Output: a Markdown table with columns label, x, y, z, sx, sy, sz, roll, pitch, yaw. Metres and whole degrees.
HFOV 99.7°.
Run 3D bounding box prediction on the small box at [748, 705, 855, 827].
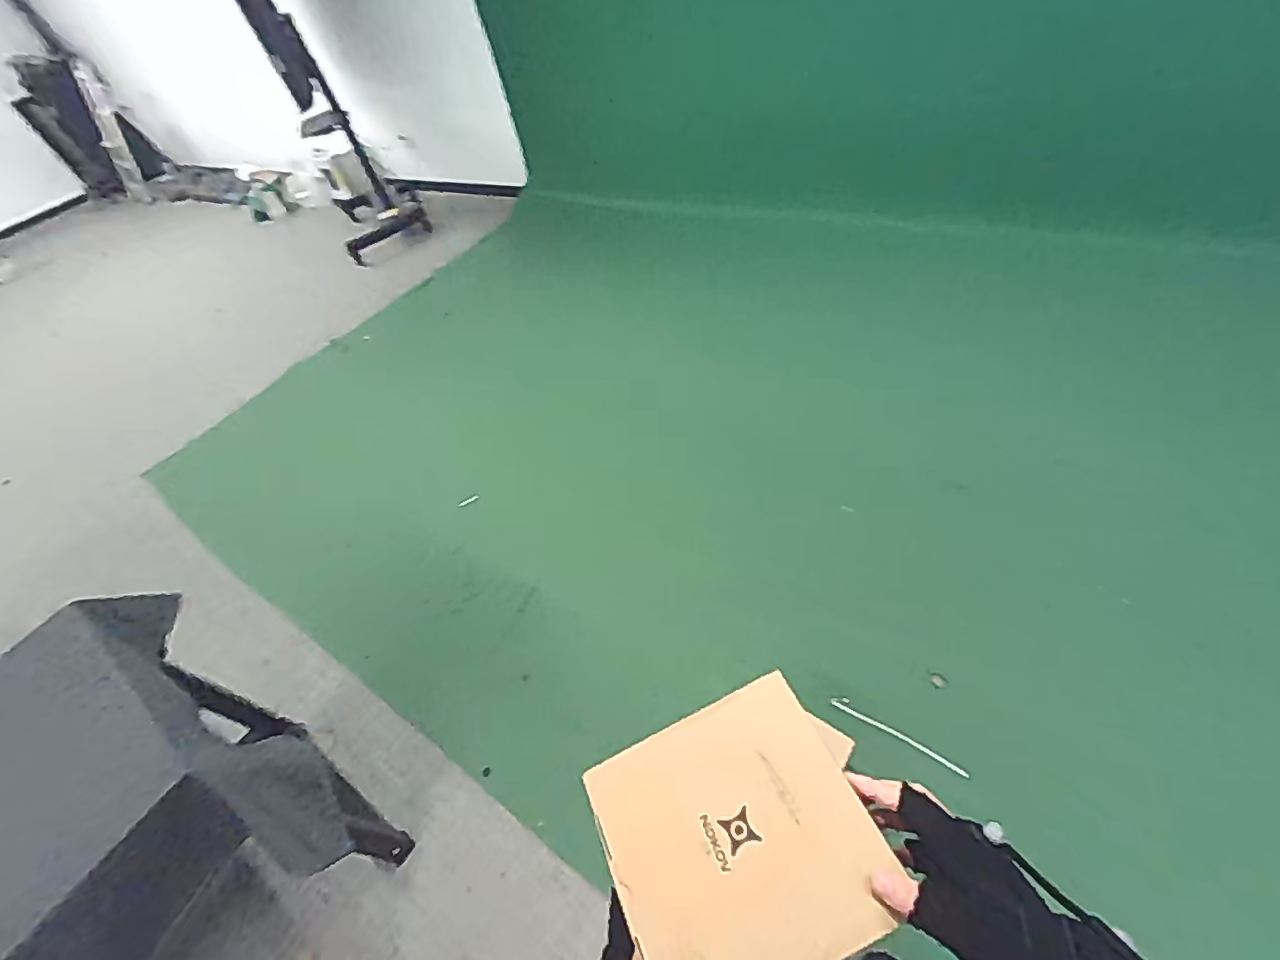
| label | x | y | z | sx | sy | sz | roll | pitch | yaw |
| --- | --- | --- | --- | --- | --- | --- | --- | --- | --- |
| small box | 0.368 | 0.658 | 1.236 | 0.179 | 0.176 | 0.168 | 24 | 58 | 32 |
